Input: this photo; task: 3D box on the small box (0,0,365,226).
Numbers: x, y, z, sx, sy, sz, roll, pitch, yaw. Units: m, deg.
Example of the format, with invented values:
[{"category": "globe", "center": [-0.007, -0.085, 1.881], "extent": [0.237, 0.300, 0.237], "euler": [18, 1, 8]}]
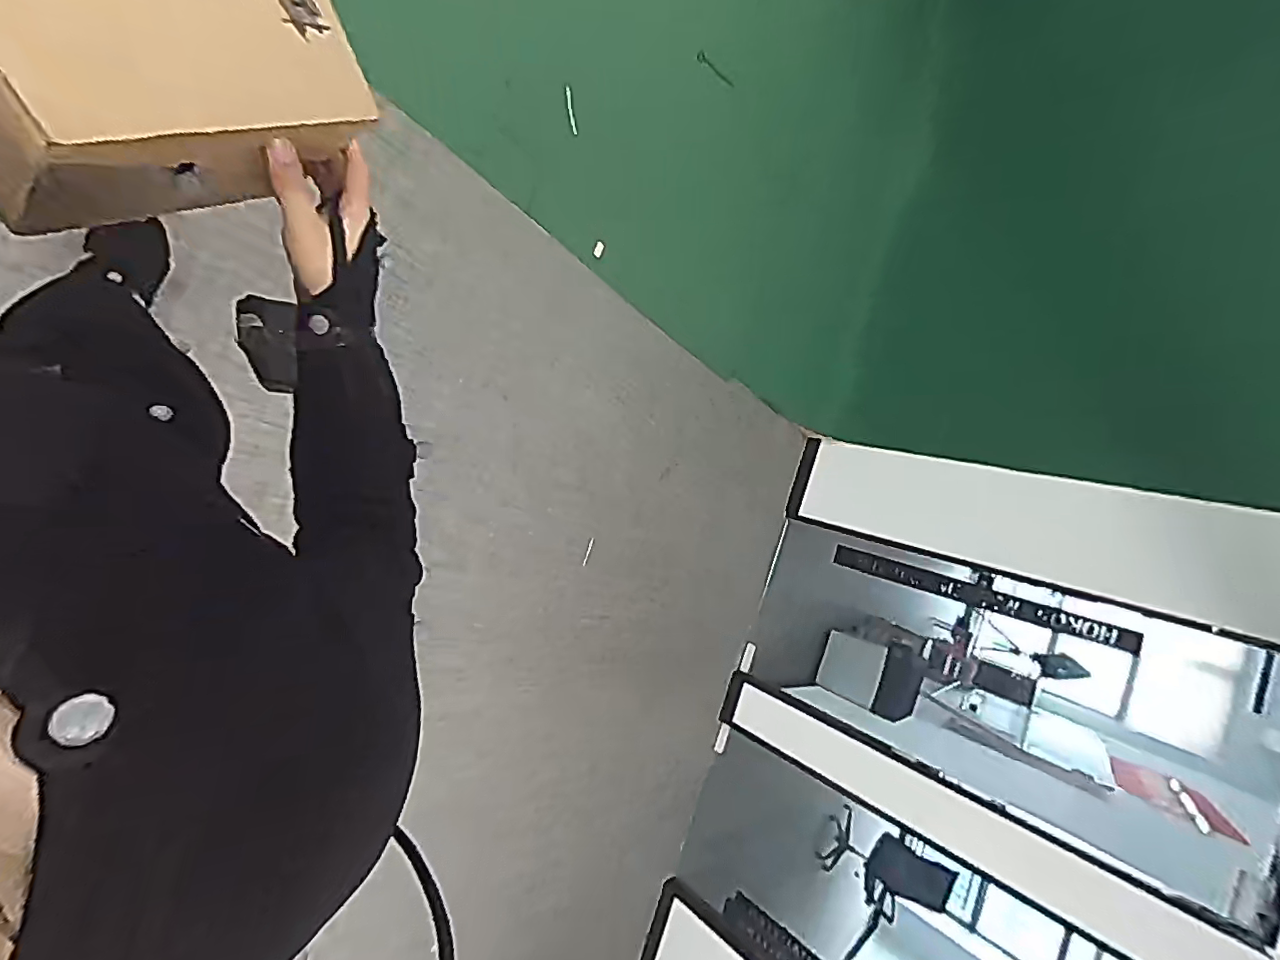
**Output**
[{"category": "small box", "center": [-0.312, -0.267, 0.315], "extent": [0.179, 0.176, 0.168], "euler": [-44, 125, -40]}]
